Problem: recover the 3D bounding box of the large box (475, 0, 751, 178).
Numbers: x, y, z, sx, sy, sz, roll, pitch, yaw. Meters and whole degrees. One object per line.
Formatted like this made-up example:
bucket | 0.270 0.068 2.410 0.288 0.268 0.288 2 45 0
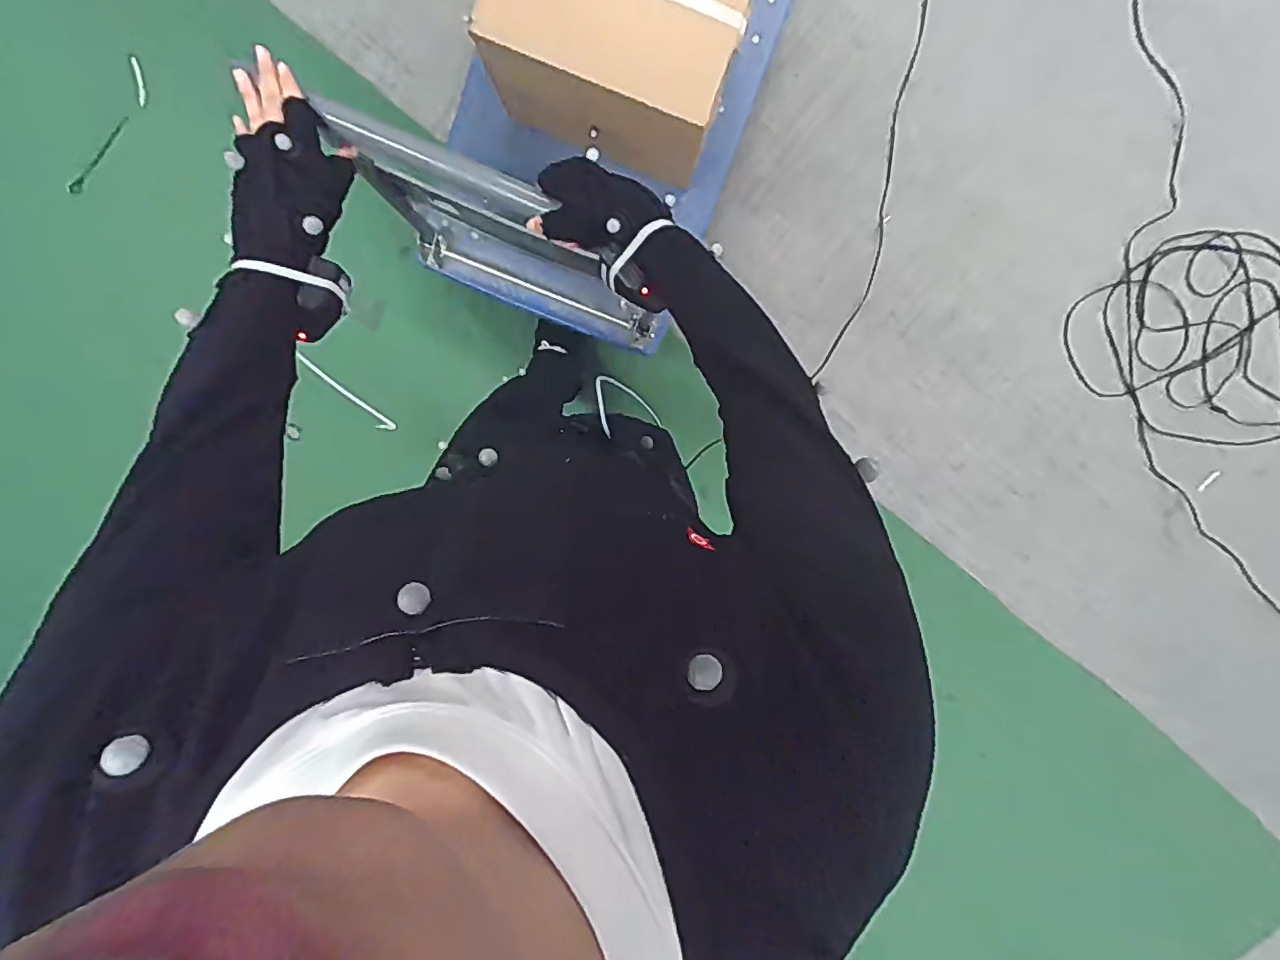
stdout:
large box | -0.025 -0.820 0.985 0.408 0.320 0.320 19 100 -4
